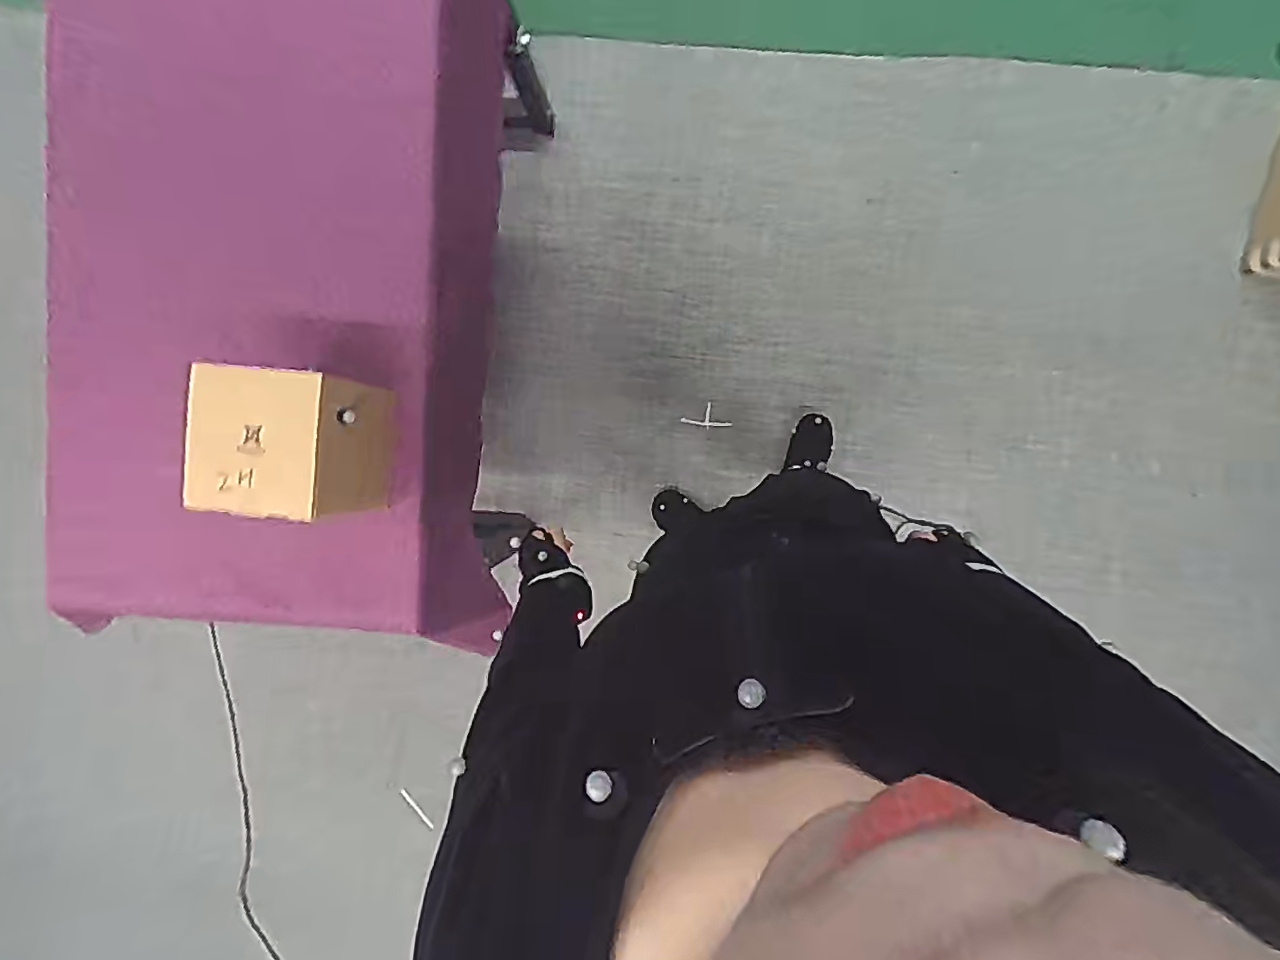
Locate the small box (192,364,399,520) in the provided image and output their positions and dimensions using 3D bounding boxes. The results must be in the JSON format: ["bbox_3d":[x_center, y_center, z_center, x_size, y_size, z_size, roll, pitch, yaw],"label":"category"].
[{"bbox_3d":[-0.447,-0.048,0.726,0.168,0.176,0.179,5,93,6],"label":"small box"}]
